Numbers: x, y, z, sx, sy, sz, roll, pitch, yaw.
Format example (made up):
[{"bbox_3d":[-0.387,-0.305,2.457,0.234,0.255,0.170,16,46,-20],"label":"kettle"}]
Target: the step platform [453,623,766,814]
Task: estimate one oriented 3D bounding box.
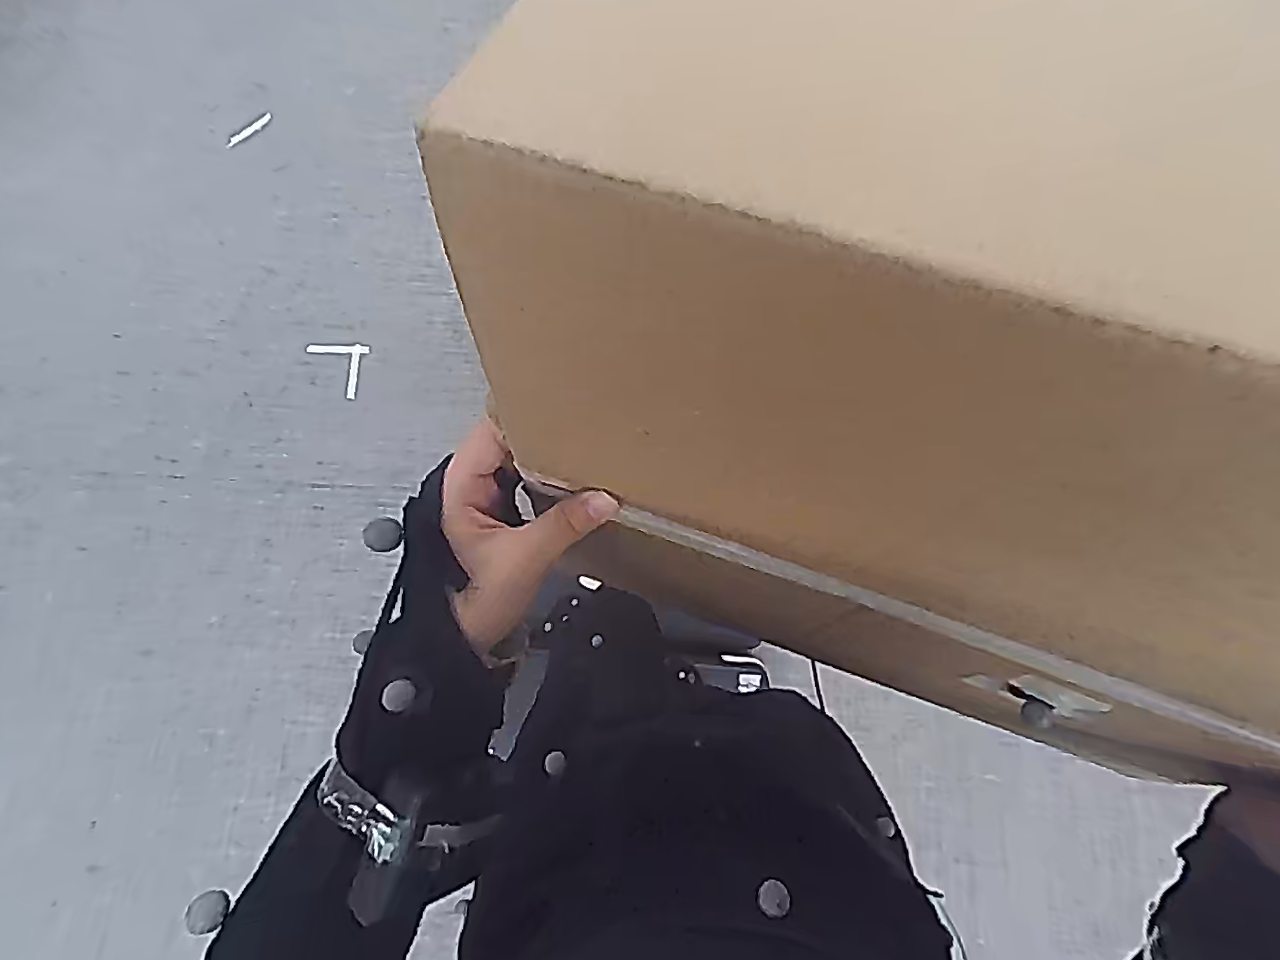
[{"bbox_3d":[-0.062,0.525,1.229,0.684,0.204,0.286,9,79,3],"label":"step platform"}]
